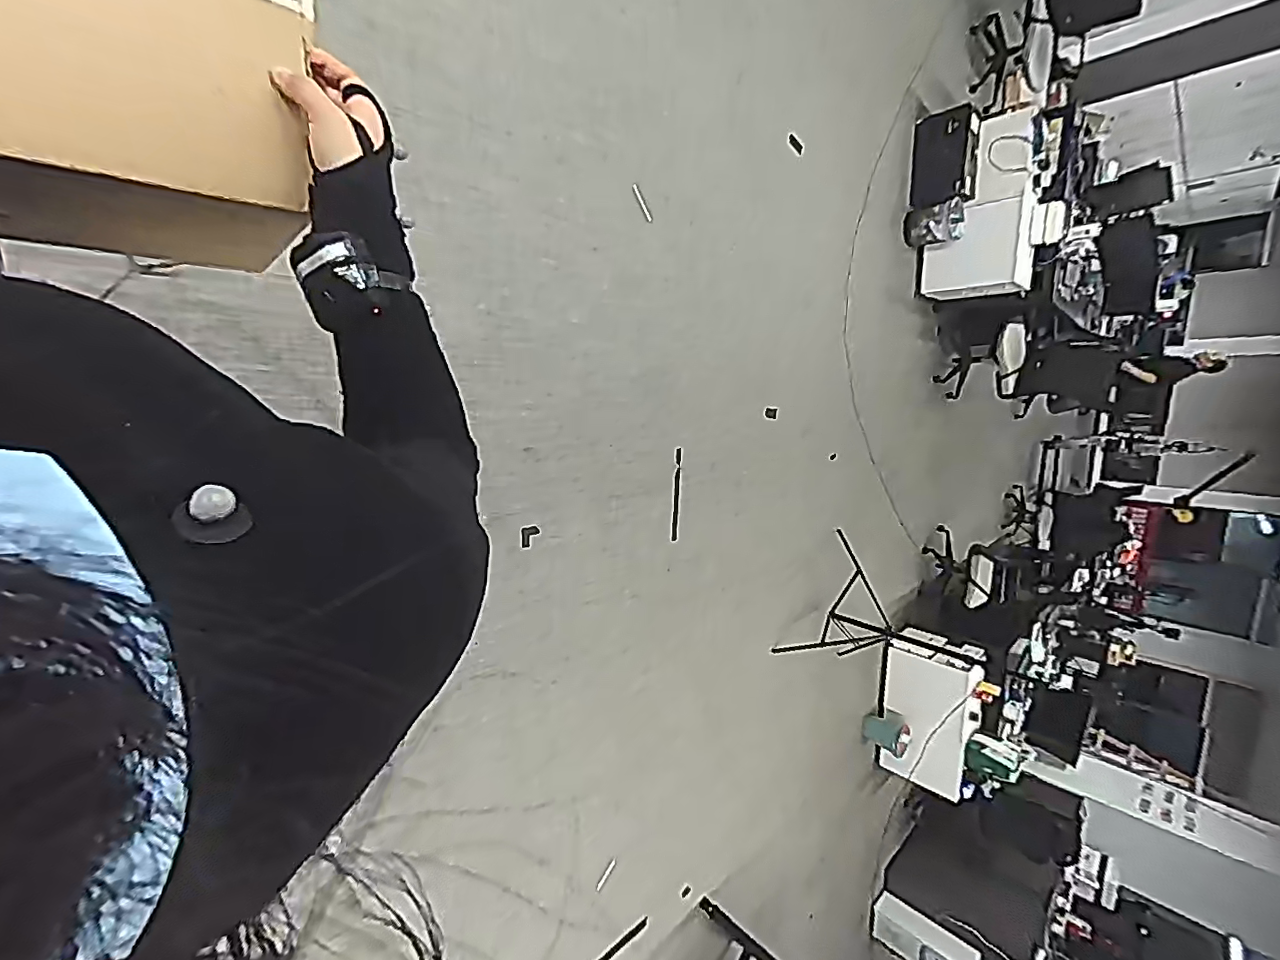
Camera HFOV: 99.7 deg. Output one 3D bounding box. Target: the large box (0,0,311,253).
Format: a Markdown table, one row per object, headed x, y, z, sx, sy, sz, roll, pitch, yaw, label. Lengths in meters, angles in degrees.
| x | y | z | sx | sy | sz | roll | pitch | yaw | label |
| --- | --- | --- | --- | --- | --- | --- | --- | --- | --- |
| -0.518 | -0.382 | 0.407 | 0.408 | 0.320 | 0.320 | -7 | 102 | -40 | large box |
